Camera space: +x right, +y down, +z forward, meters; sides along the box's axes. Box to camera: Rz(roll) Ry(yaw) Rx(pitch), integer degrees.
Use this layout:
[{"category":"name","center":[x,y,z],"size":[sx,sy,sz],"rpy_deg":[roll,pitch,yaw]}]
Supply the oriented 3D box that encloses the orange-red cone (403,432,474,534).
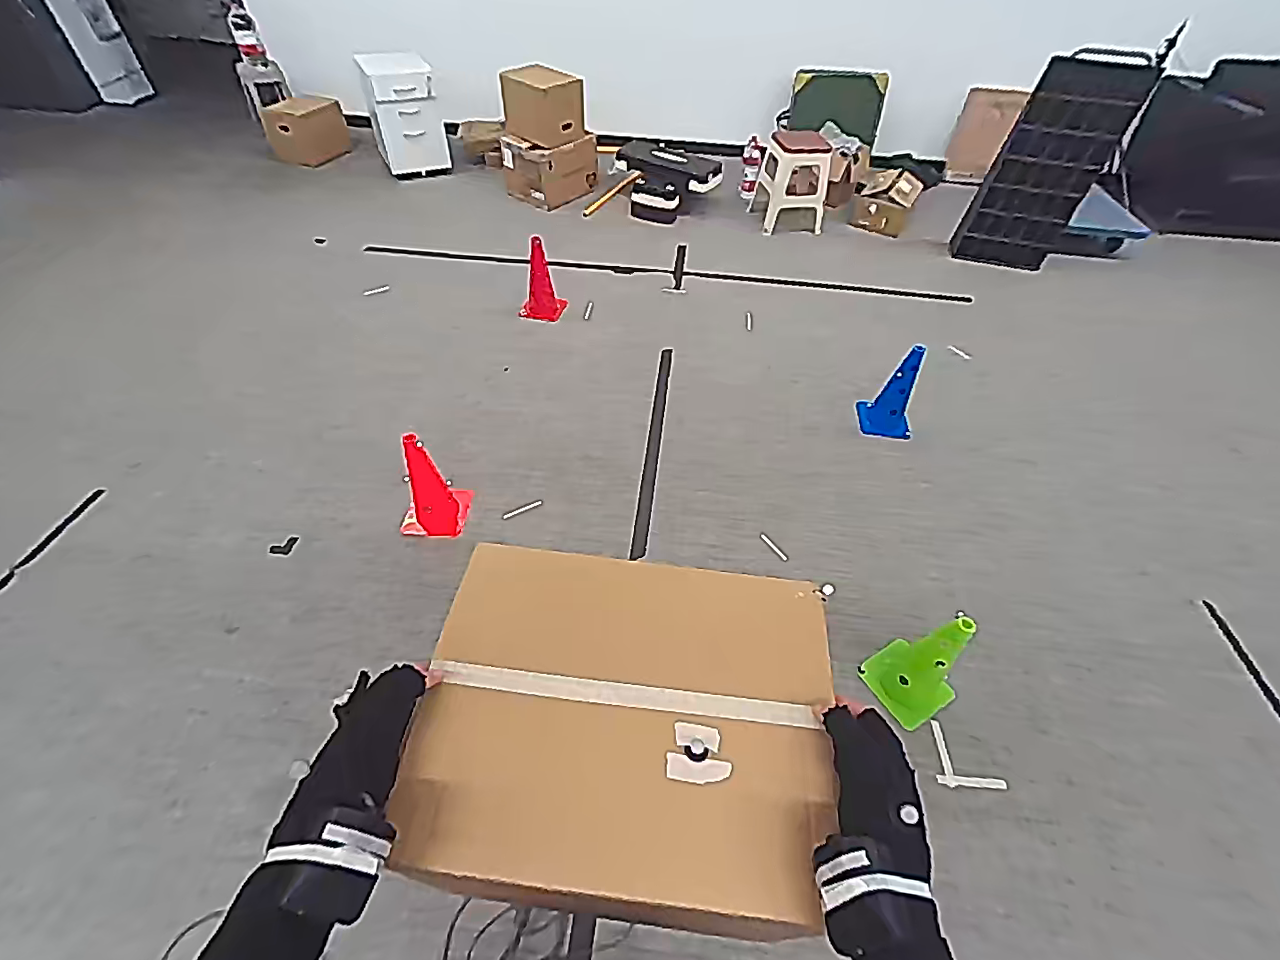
[{"category":"orange-red cone","center":[-0.675,-0.011,1.710],"size":[0.198,0.360,0.199],"rpy_deg":[4,50,2]}]

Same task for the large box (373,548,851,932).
[{"category":"large box","center":[-0.021,0.312,0.648],"size":[0.408,0.320,0.320],"rpy_deg":[7,49,2]}]

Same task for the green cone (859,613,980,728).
[{"category":"green cone","center":[0.755,0.448,1.379],"size":[0.202,0.368,0.200],"rpy_deg":[-22,54,-23]}]

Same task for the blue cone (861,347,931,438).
[{"category":"blue cone","center":[1.031,-0.358,2.125],"size":[0.192,0.380,0.193],"rpy_deg":[9,49,4]}]

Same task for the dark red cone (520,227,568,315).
[{"category":"dark red cone","center":[-0.460,-0.985,2.544],"size":[0.201,0.394,0.202],"rpy_deg":[11,49,5]}]
